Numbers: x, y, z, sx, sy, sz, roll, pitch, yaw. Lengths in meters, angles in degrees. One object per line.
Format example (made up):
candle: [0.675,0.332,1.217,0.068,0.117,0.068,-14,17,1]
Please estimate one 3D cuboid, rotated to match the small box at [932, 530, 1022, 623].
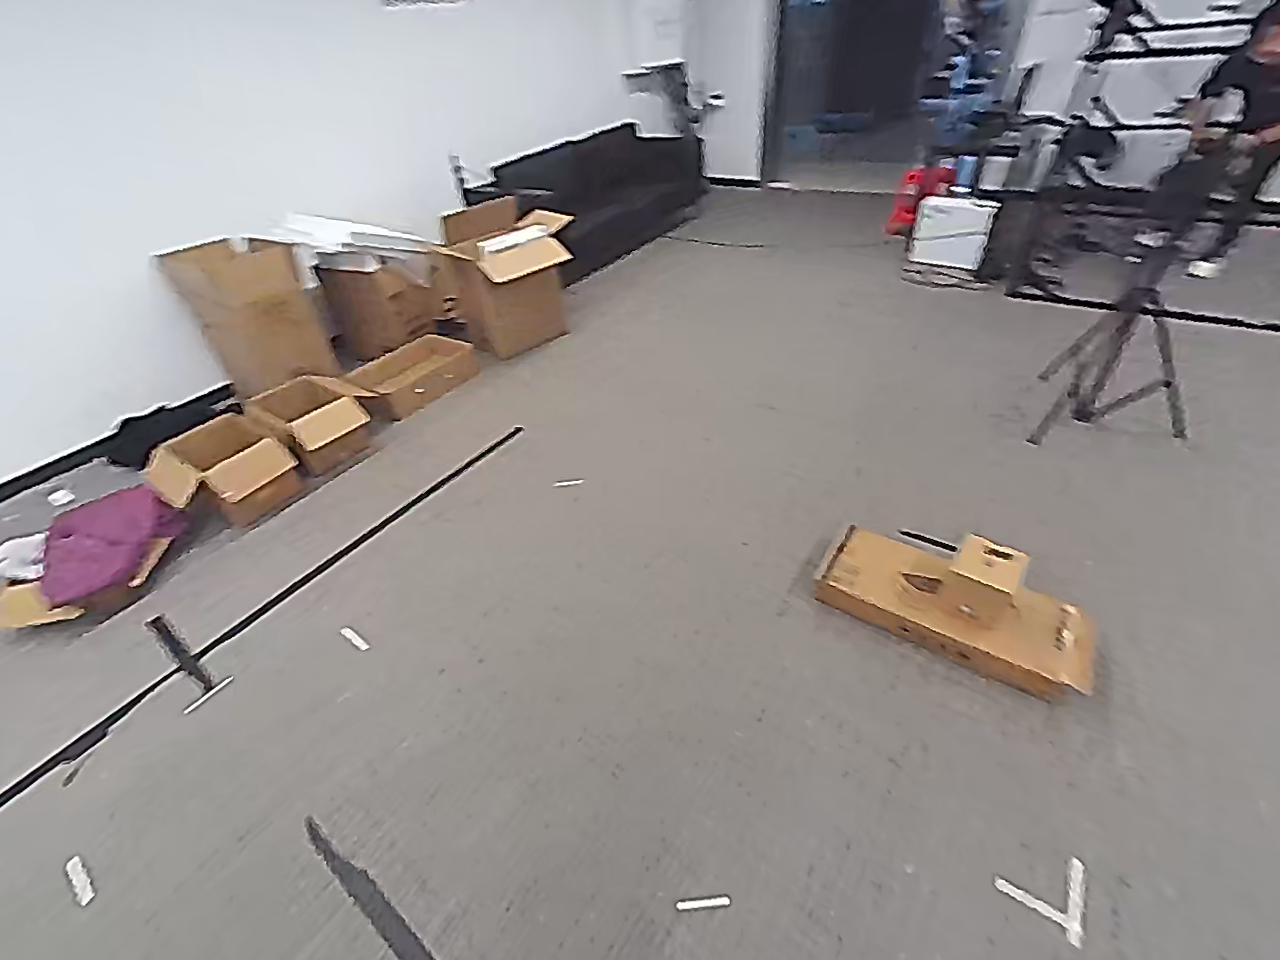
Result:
small box: [0.992,0.285,1.600,0.168,0.176,0.179,24,49,32]
